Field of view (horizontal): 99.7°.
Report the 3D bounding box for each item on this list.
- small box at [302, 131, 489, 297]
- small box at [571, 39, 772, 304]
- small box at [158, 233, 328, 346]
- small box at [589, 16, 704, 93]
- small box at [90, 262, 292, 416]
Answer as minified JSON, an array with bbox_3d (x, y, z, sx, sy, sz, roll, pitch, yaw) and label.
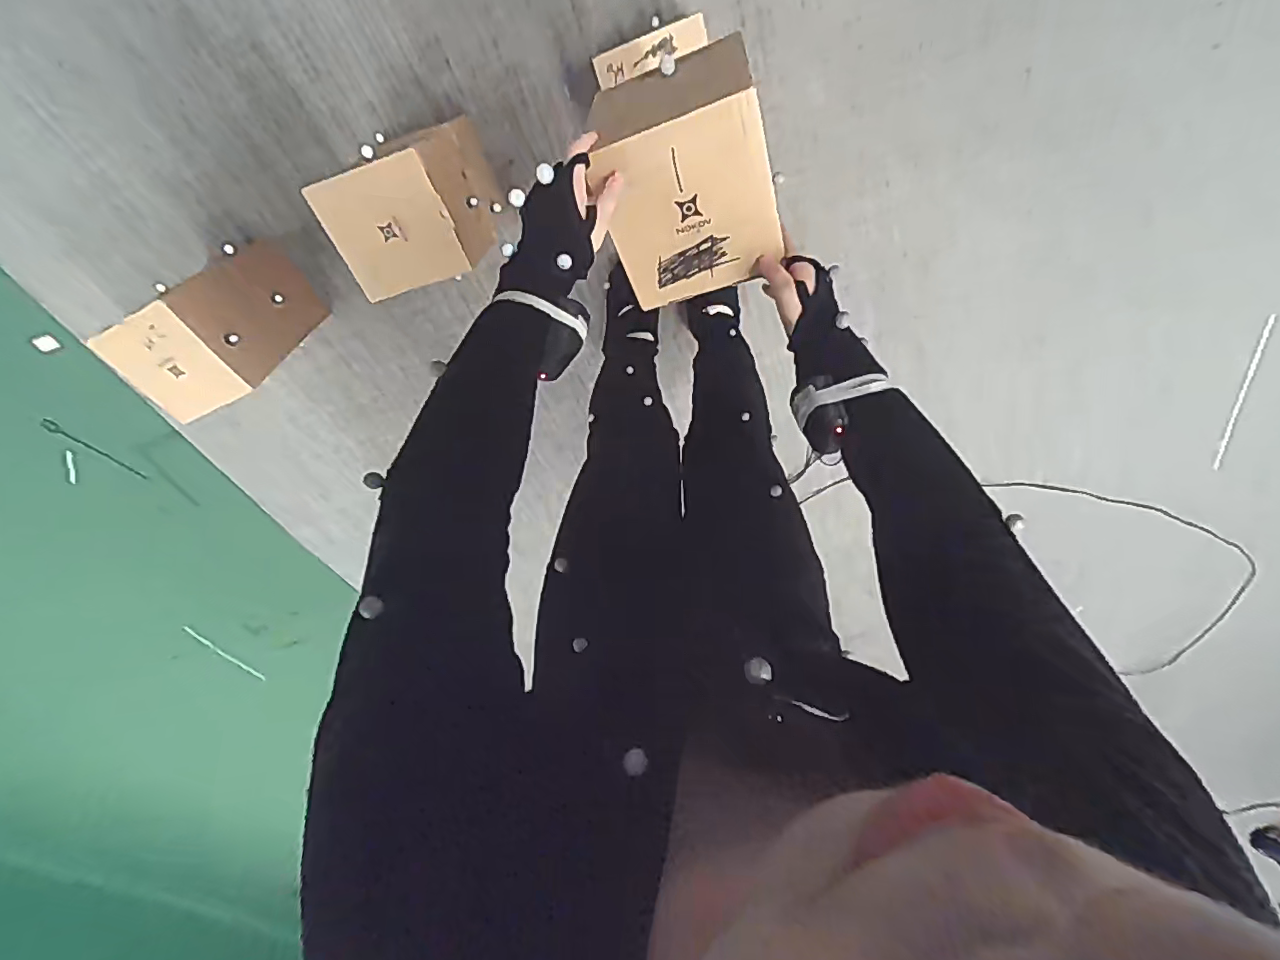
[{"bbox_3d":[-0.355,-0.408,0.825,0.179,0.176,0.168,-14,128,9],"label":"small box"},{"bbox_3d":[0.045,-0.331,0.594,0.168,0.176,0.179,-11,139,18],"label":"small box"},{"bbox_3d":[-0.766,-0.355,1.069,0.168,0.176,0.179,-18,127,12],"label":"small box"},{"bbox_3d":[0.027,-0.617,0.877,0.168,0.176,0.179,-15,129,10],"label":"small box"},{"bbox_3d":[-0.762,-0.248,0.944,0.168,0.176,0.179,-20,128,13],"label":"small box"}]
